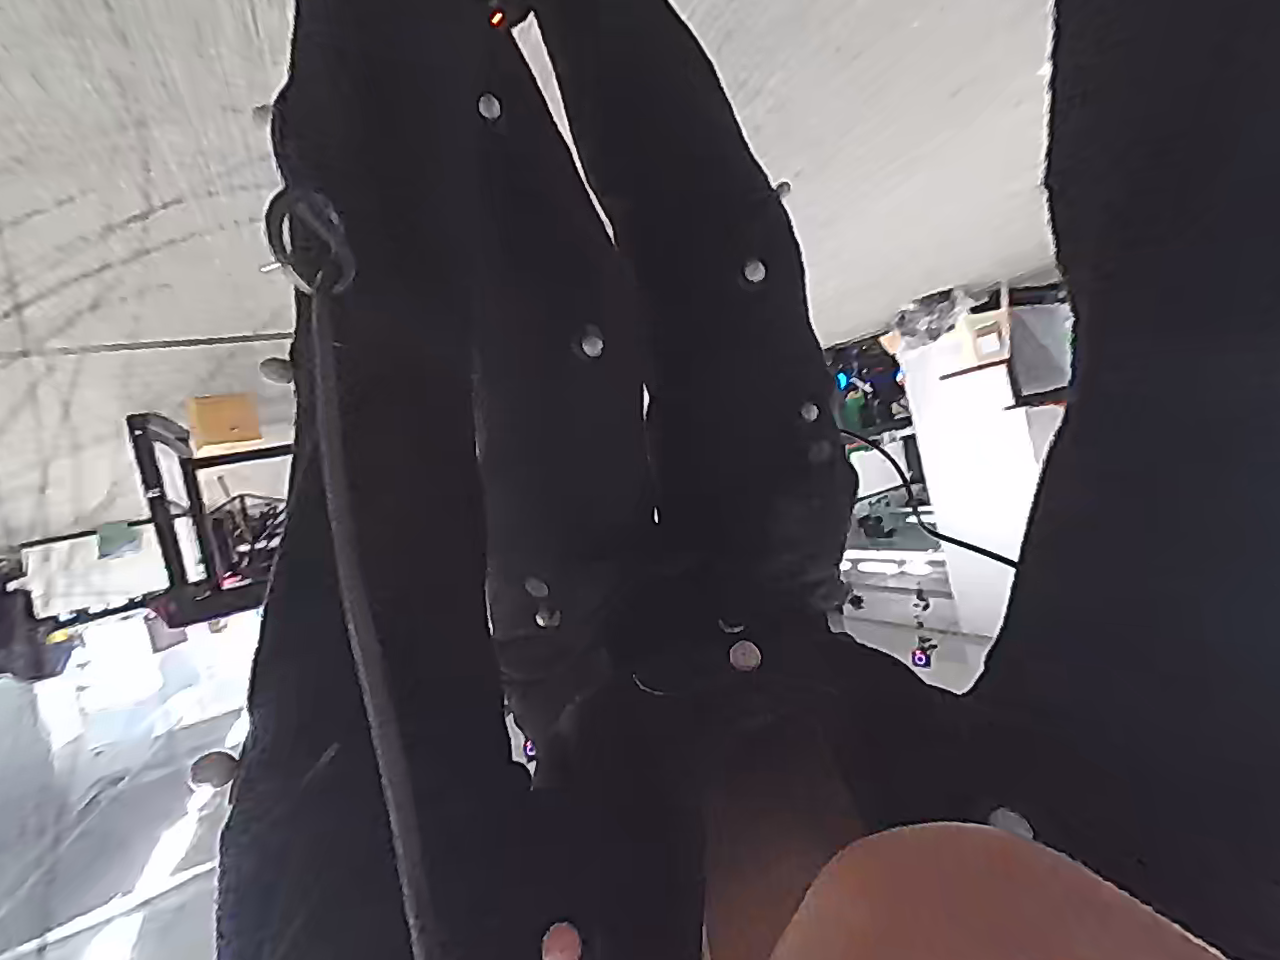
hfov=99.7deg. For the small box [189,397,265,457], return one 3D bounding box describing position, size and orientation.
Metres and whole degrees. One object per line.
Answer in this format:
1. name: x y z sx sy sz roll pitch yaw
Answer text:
1. small box: -1.473 -0.191 1.924 0.168 0.176 0.179 -14 -179 44
